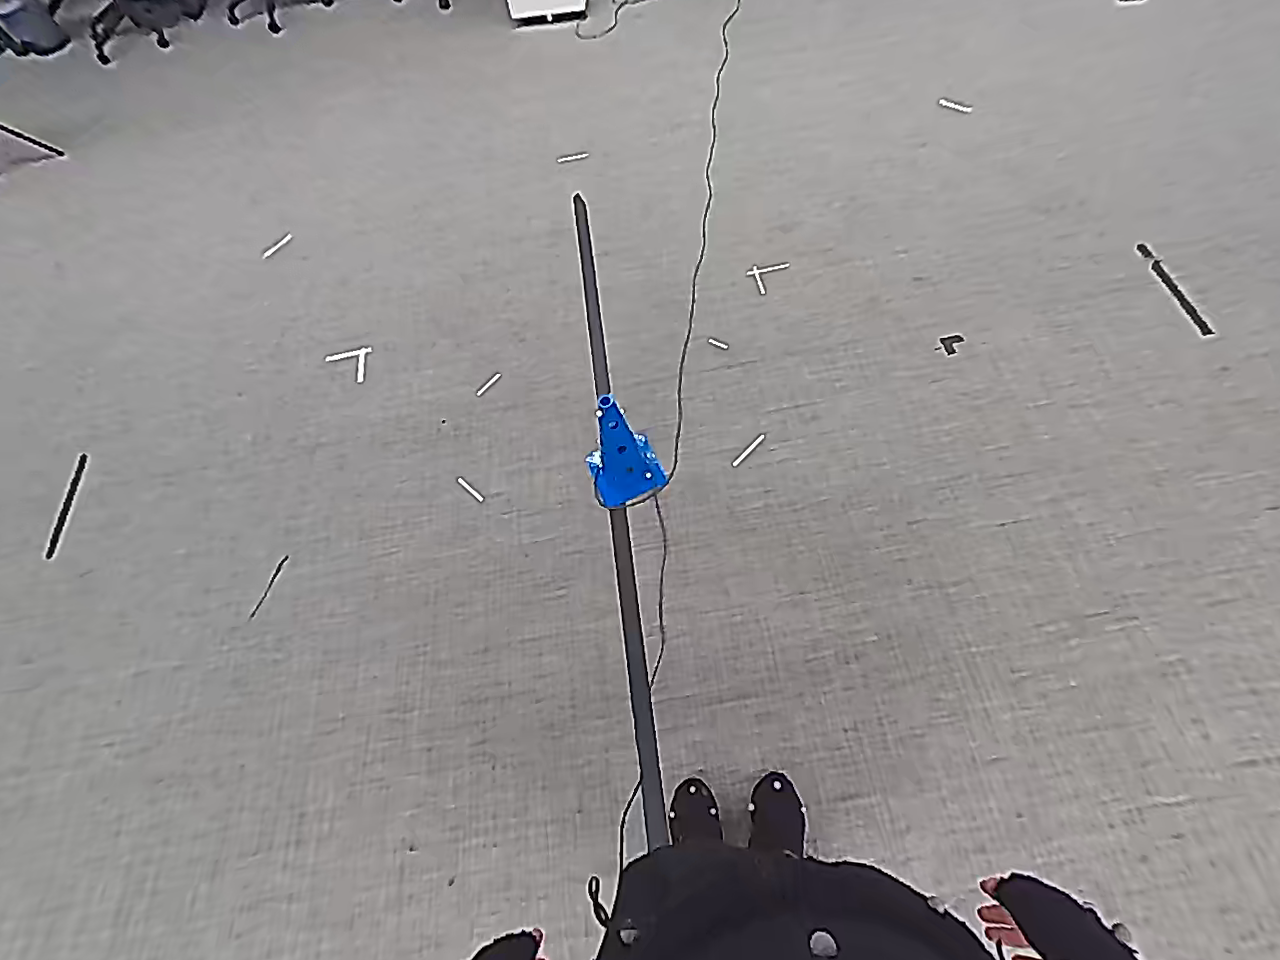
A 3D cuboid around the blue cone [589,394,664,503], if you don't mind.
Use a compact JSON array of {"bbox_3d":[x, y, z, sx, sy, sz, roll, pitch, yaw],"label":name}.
[{"bbox_3d":[-0.061,-0.115,1.469,0.193,0.380,0.192,-24,62,-6],"label":"blue cone"}]
